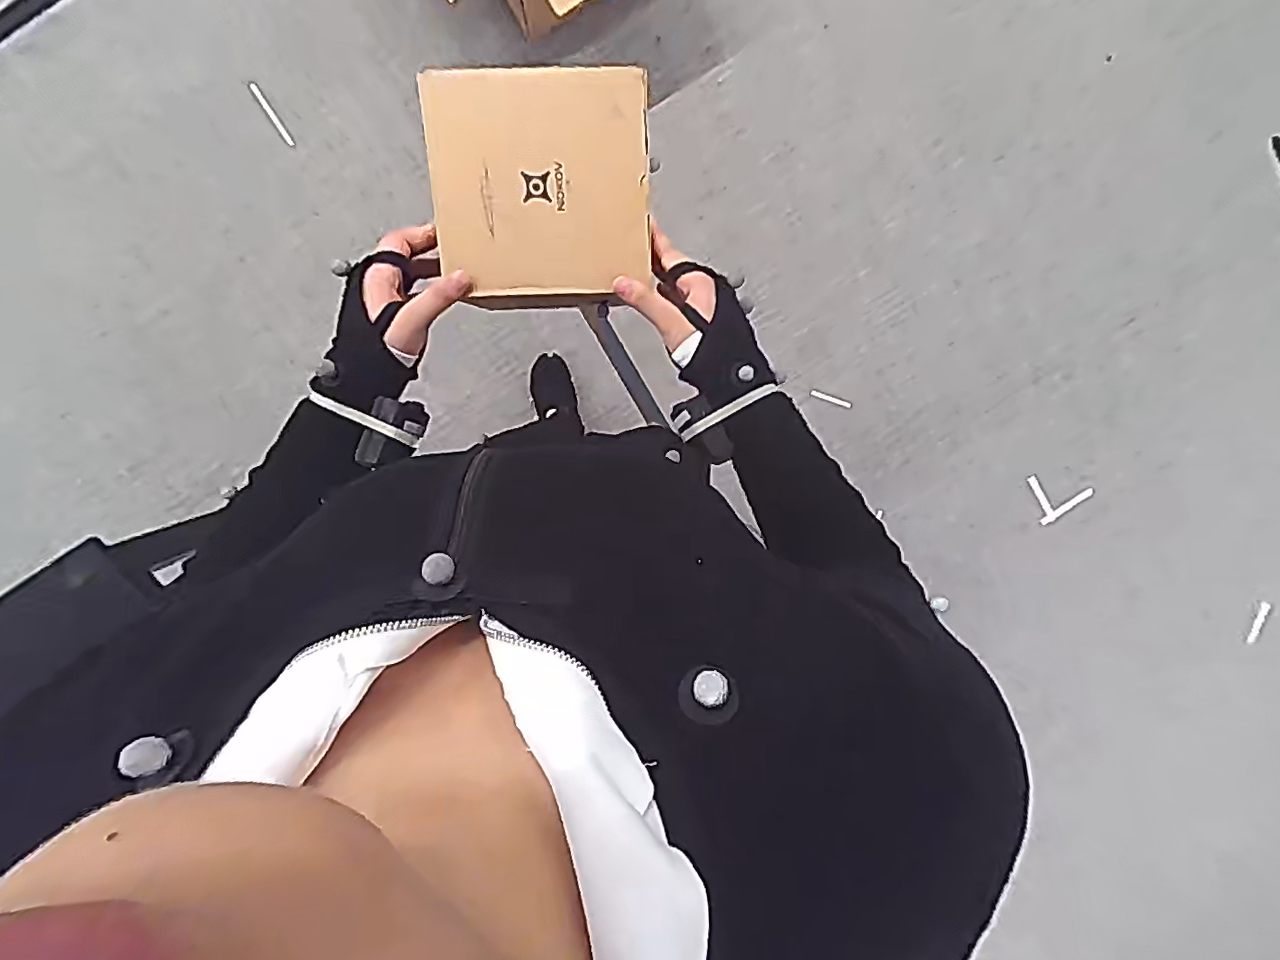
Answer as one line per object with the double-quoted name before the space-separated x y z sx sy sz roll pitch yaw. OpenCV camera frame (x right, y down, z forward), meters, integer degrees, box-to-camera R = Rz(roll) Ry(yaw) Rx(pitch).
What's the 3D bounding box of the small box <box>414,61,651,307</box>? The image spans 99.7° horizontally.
"small box" -0.085 -0.256 0.506 0.179 0.176 0.168 -3 103 -1
